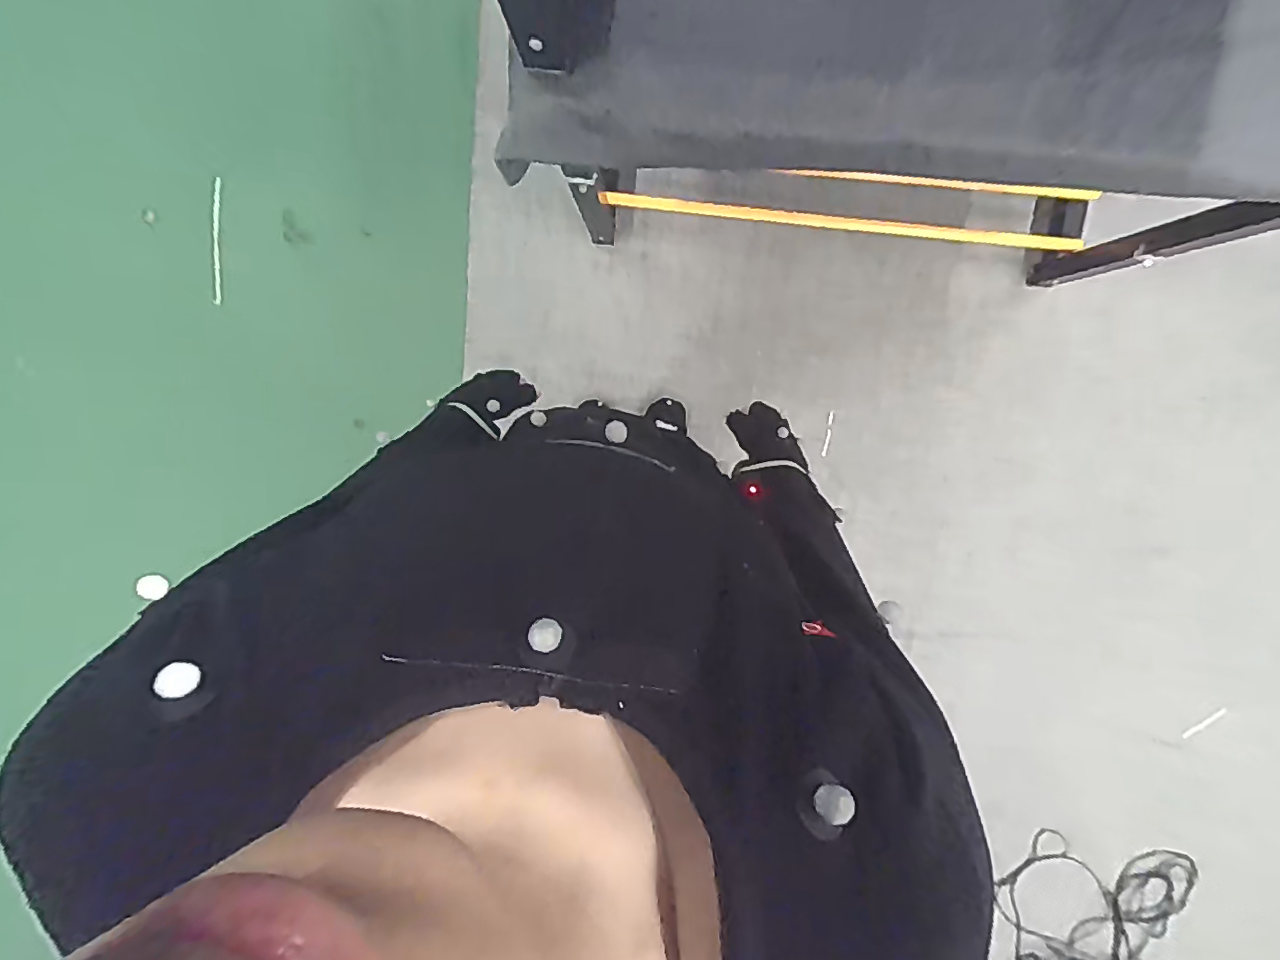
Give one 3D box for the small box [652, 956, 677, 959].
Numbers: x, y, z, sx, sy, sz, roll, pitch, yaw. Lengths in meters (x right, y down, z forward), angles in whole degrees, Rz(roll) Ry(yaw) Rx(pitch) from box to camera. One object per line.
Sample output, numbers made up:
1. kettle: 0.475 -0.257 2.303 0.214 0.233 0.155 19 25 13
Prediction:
1. small box: 0.107 1.614 1.654 0.168 0.176 0.179 6 100 0
